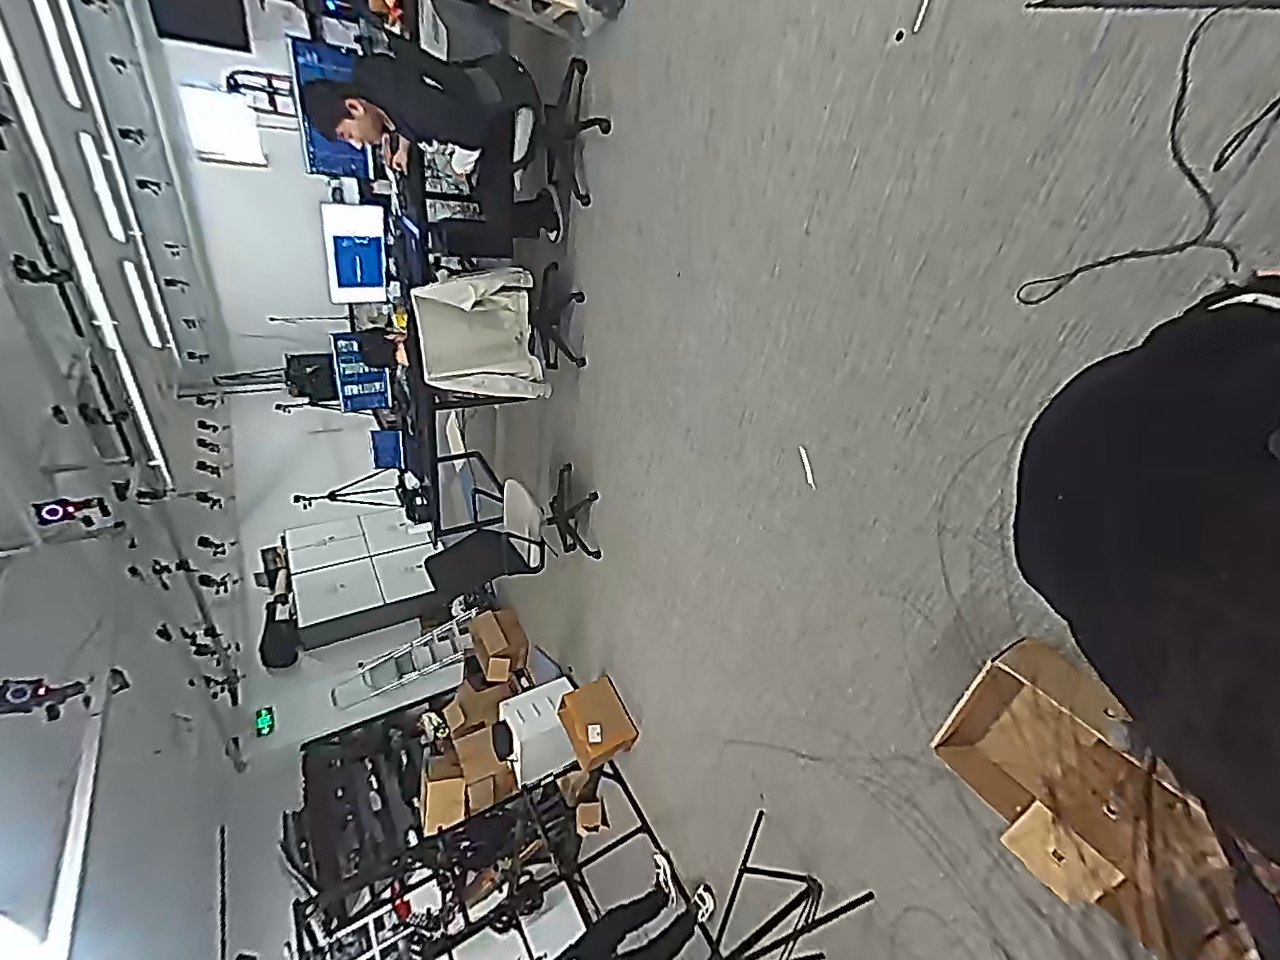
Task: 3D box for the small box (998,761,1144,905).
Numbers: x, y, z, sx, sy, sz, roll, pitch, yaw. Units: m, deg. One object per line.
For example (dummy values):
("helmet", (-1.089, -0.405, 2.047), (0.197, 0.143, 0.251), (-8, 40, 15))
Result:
("small box", (0.935, 0.758, 1.175), (0.168, 0.176, 0.179), (42, 134, 43))
